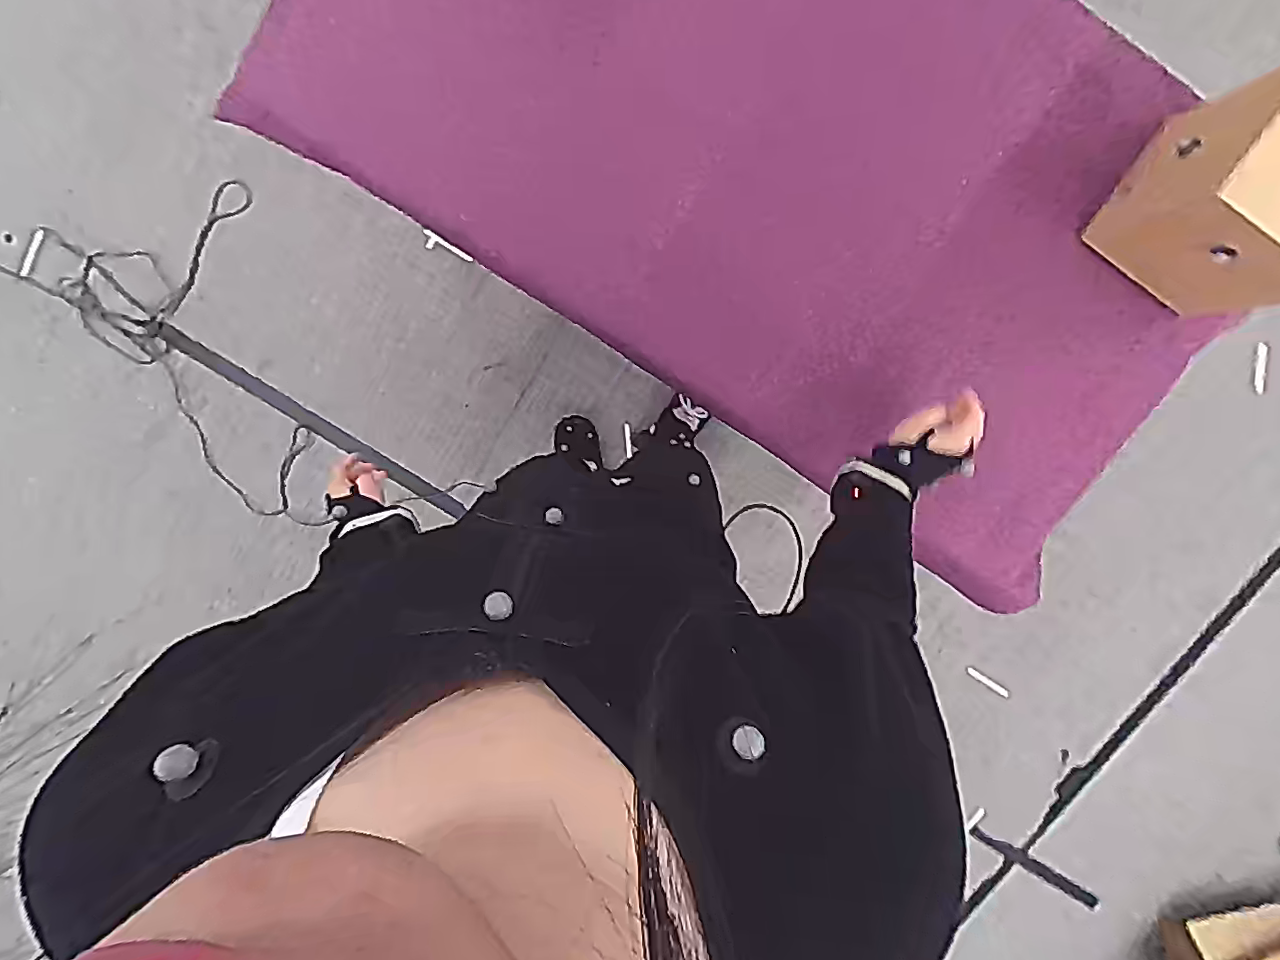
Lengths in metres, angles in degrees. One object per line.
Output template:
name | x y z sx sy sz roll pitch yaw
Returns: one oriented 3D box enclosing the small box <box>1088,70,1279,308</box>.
small box | 0.670 -0.311 0.602 0.179 0.176 0.168 33 100 -6
